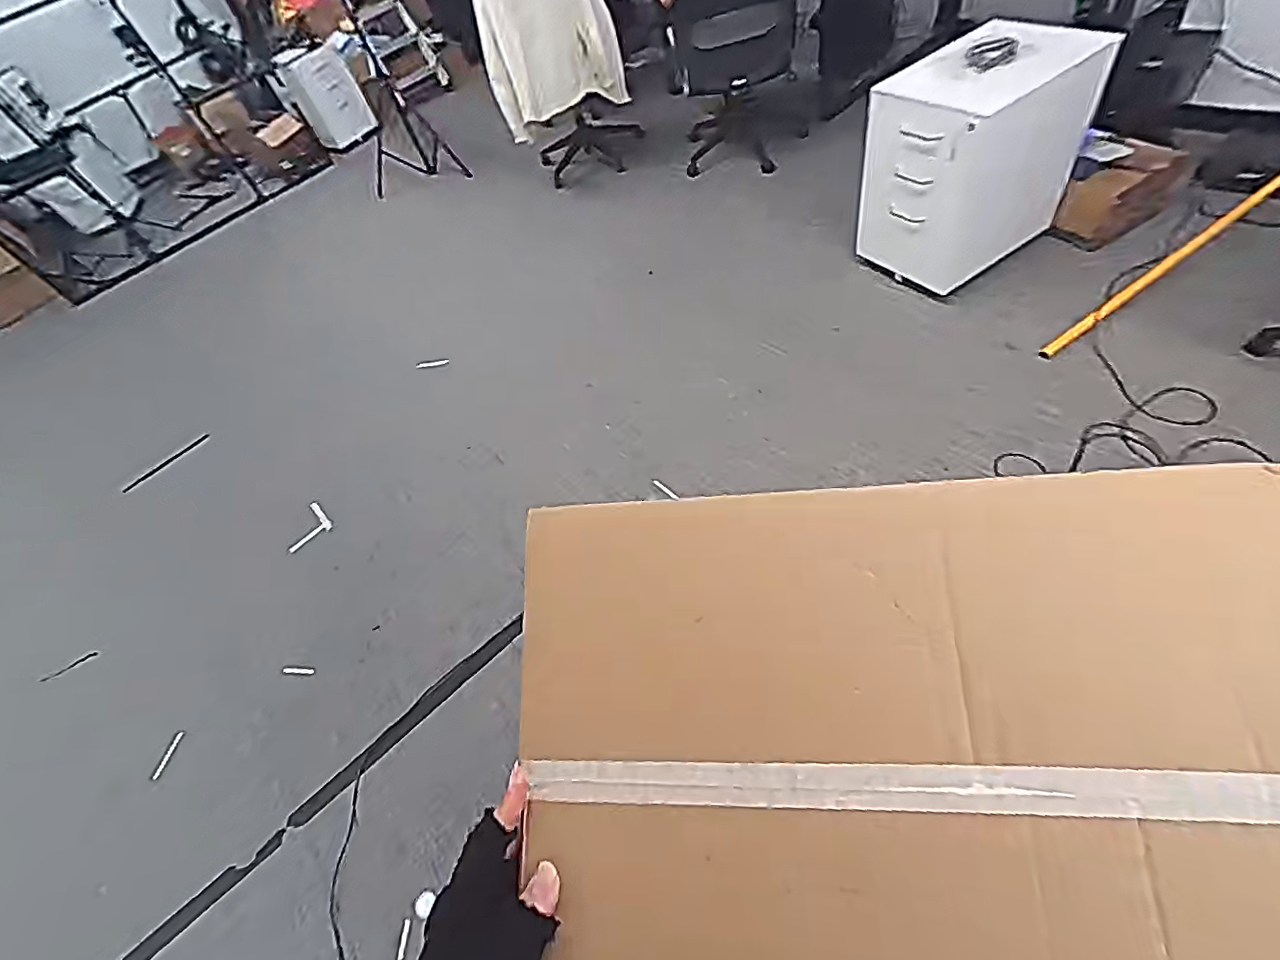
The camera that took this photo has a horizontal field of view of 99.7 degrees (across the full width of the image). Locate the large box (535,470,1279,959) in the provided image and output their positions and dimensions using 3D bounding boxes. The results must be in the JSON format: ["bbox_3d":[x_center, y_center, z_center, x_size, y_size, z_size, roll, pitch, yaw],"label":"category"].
[{"bbox_3d":[0.161,0.197,0.423,0.408,0.320,0.320,-5,76,11],"label":"large box"}]
